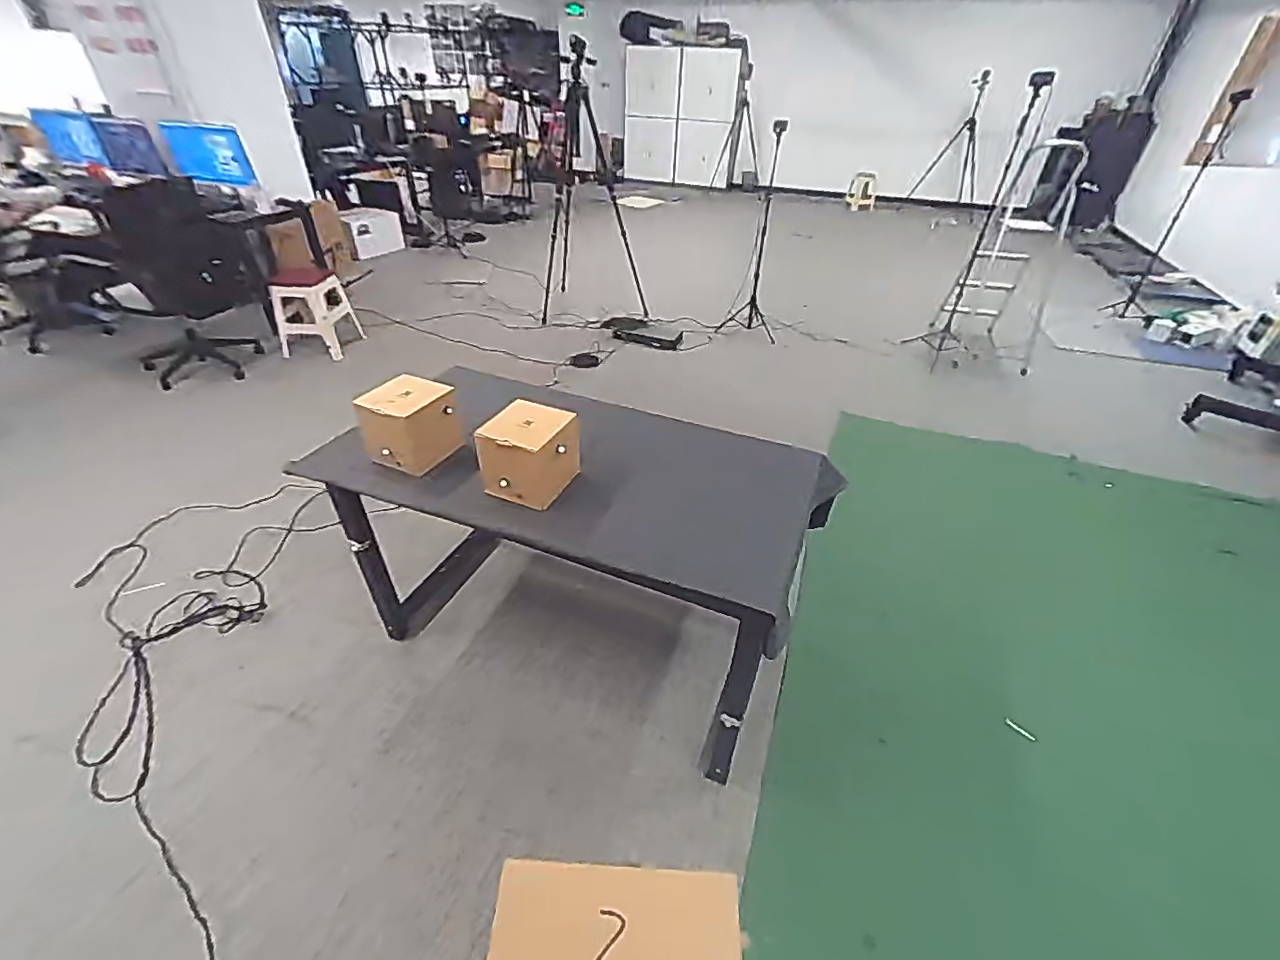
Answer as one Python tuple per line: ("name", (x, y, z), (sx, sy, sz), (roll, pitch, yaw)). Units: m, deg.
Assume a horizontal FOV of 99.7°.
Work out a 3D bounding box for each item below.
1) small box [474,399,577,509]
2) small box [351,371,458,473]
("small box", (-0.261, -0.062, 1.261), (0.168, 0.176, 0.179), (17, 39, 17))
("small box", (-0.572, -0.145, 1.341), (0.168, 0.176, 0.179), (17, 38, 18))
